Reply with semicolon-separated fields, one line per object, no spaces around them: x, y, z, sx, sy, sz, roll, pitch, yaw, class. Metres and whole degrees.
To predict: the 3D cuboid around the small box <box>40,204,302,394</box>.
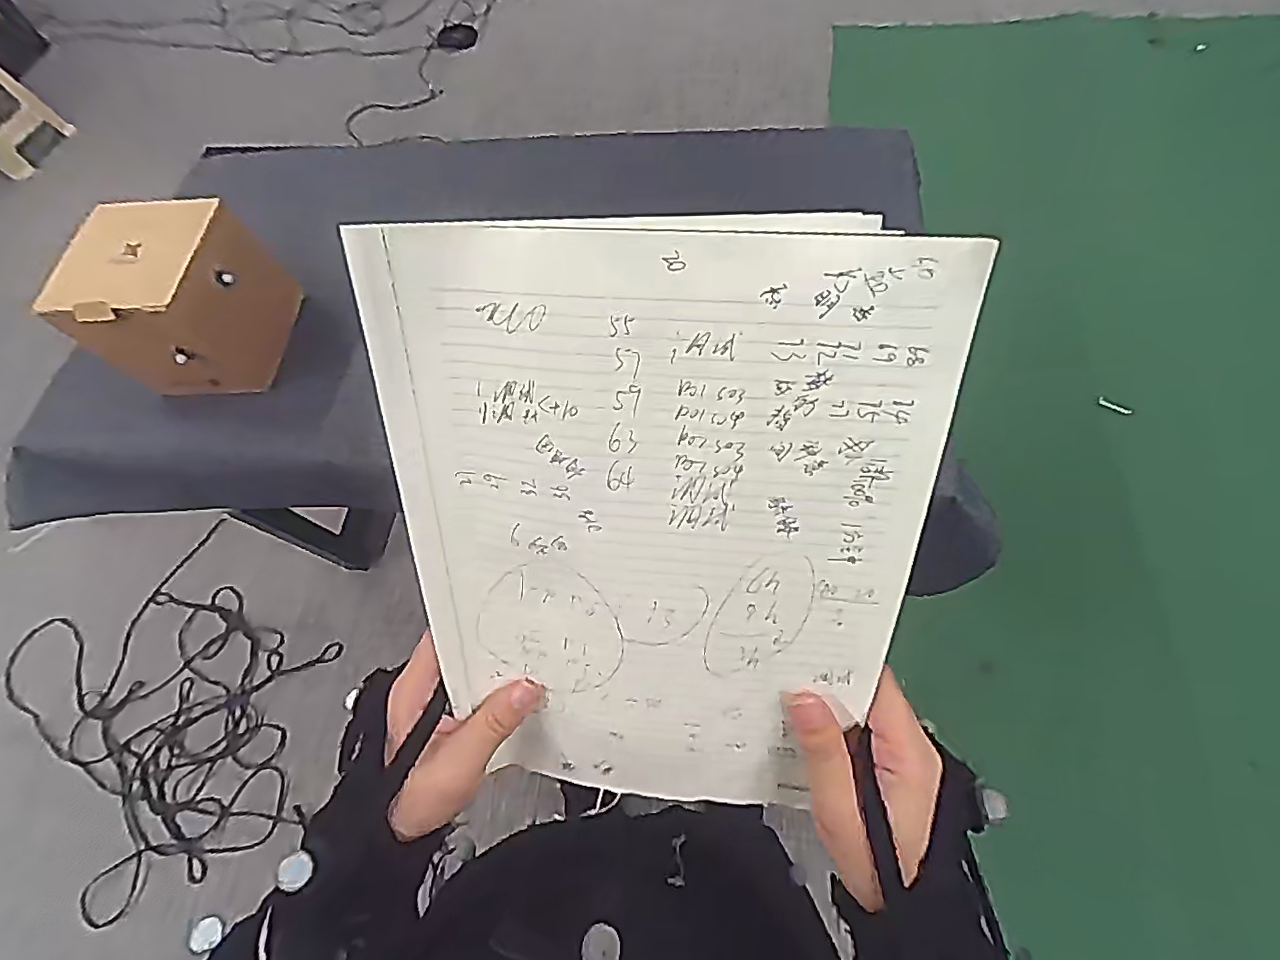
-0.584;-0.226;0.706;0.168;0.176;0.179;-1;64;4;small box
